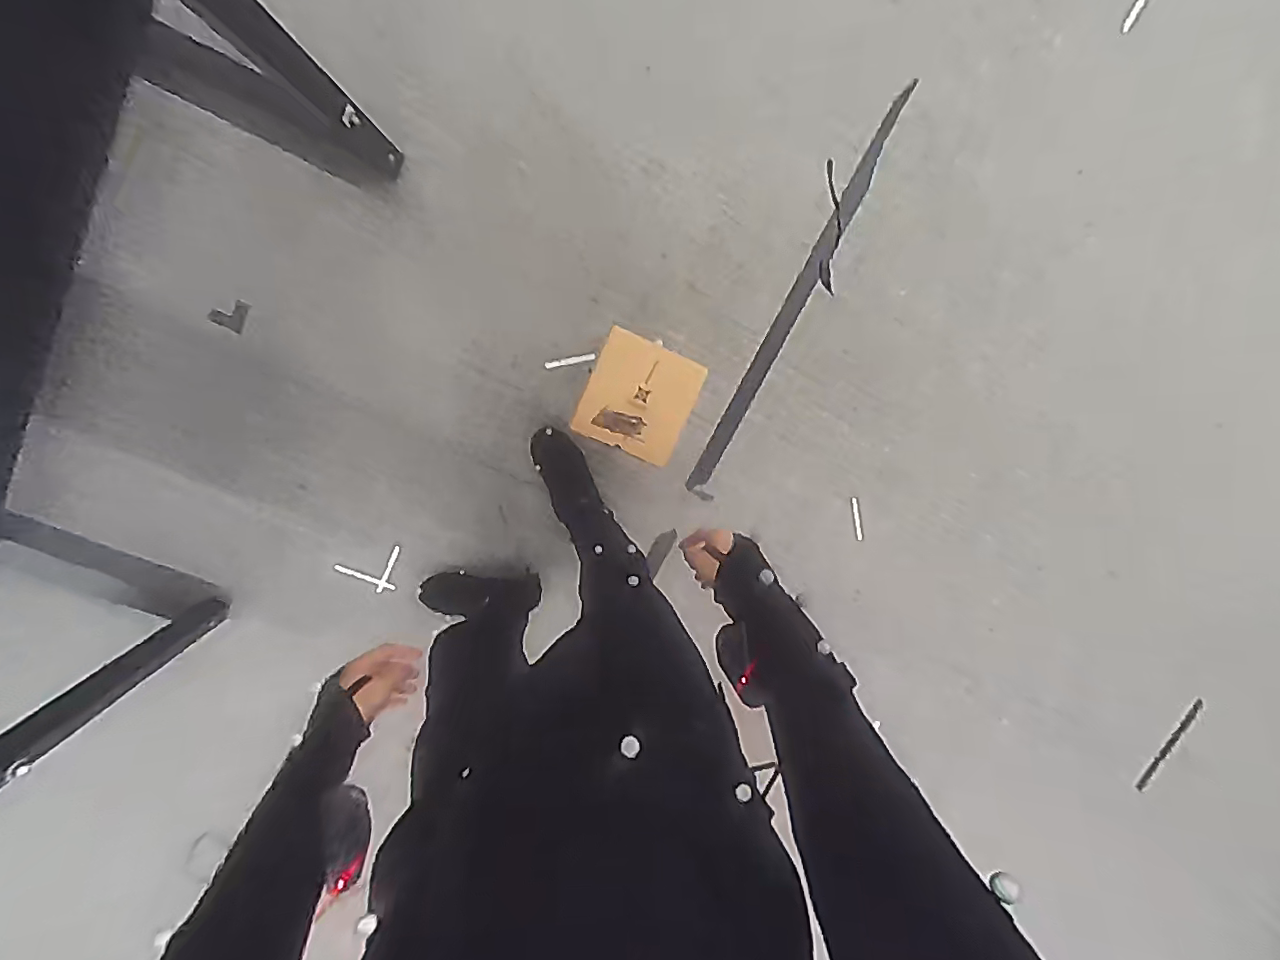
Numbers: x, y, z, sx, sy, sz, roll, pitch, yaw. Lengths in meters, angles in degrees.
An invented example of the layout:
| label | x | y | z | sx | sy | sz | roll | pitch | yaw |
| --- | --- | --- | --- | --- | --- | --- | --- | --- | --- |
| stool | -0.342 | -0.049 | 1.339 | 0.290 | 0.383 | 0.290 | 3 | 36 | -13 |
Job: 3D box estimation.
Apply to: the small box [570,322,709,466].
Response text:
| label | x | y | z | sx | sy | sz | roll | pitch | yaw |
| --- | --- | --- | --- | --- | --- | --- | --- | --- | --- |
| small box | -0.007 | -0.147 | 0.912 | 0.168 | 0.176 | 0.179 | 23 | 100 | -12 |
